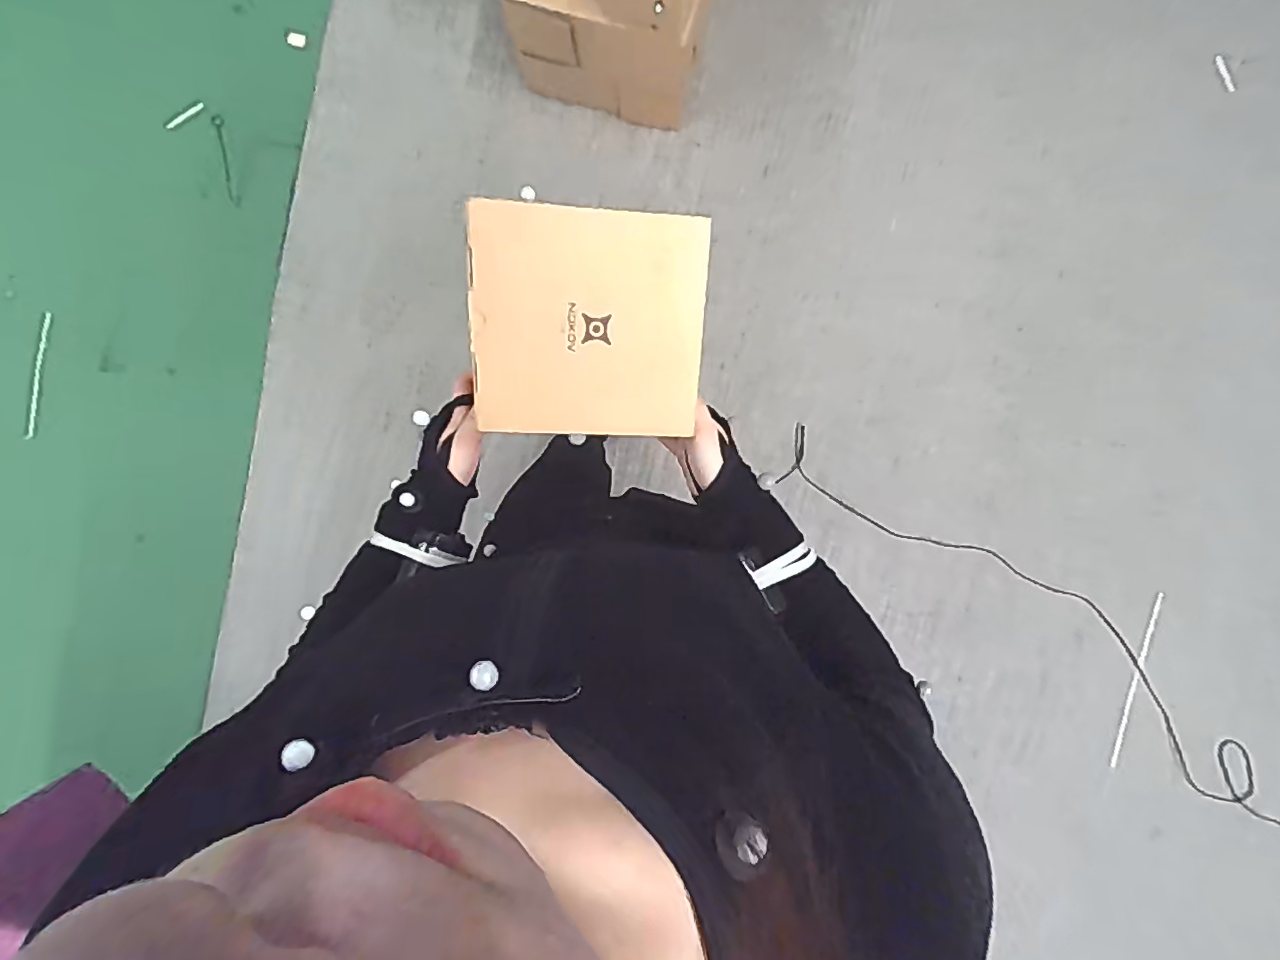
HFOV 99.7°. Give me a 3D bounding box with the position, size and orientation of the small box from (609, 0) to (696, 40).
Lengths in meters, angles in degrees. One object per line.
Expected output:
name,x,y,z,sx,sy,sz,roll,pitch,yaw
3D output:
small box,0.036,-0.996,1.022,0.168,0.176,0.179,20,93,0

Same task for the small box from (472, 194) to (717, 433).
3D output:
small box,-0.044,-0.143,0.480,0.179,0.176,0.168,1,108,-6
